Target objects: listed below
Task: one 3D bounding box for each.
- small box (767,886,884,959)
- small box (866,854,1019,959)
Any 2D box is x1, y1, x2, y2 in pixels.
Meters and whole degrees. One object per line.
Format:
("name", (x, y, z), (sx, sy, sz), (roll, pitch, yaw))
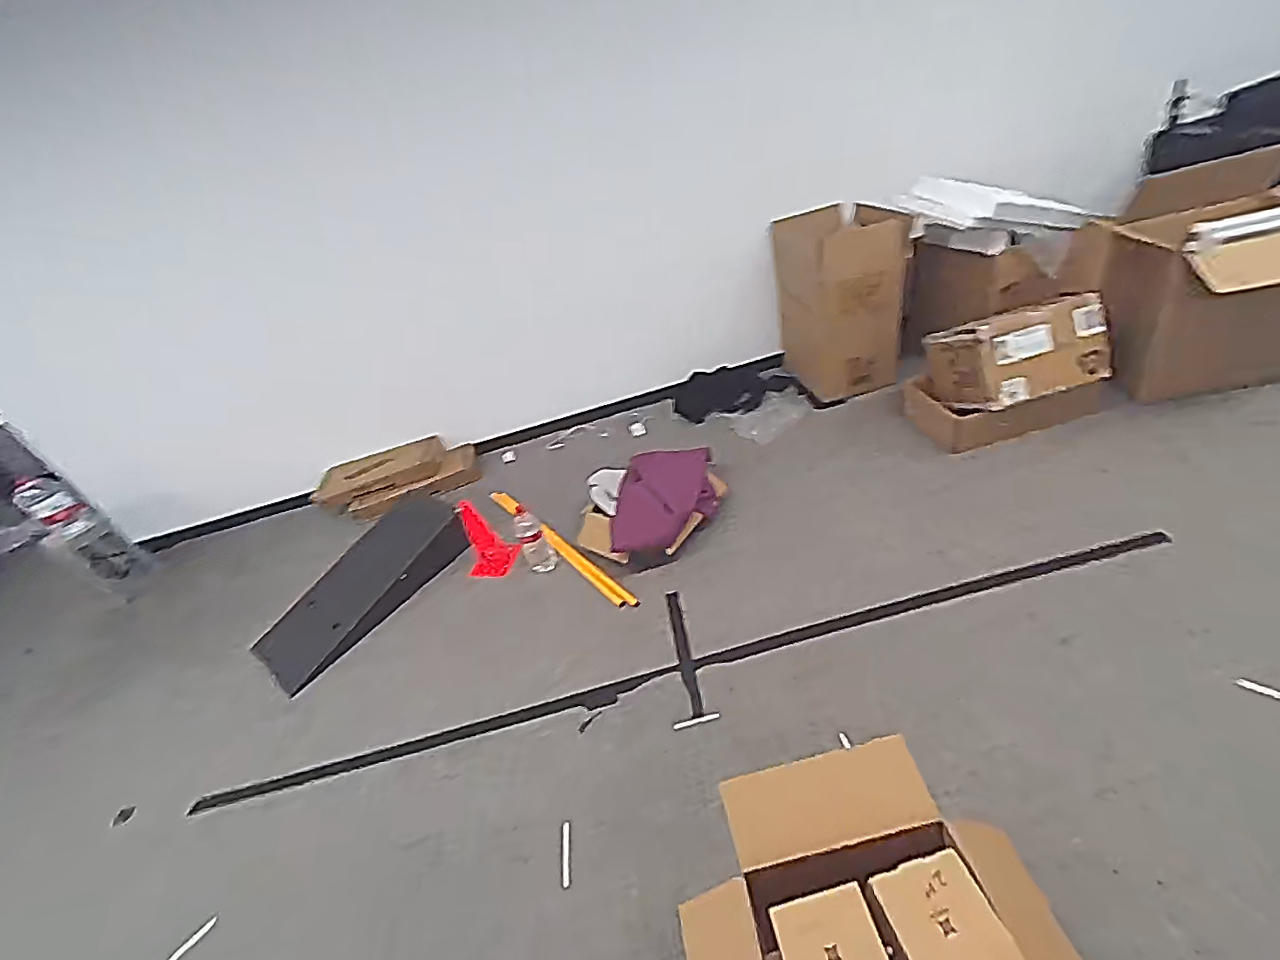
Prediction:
("small box", (0.337, 0.846, 0.925), (0.168, 0.176, 0.179), (-19, 33, 2))
("small box", (0.509, 0.792, 0.924), (0.168, 0.176, 0.179), (-16, 35, -5))
